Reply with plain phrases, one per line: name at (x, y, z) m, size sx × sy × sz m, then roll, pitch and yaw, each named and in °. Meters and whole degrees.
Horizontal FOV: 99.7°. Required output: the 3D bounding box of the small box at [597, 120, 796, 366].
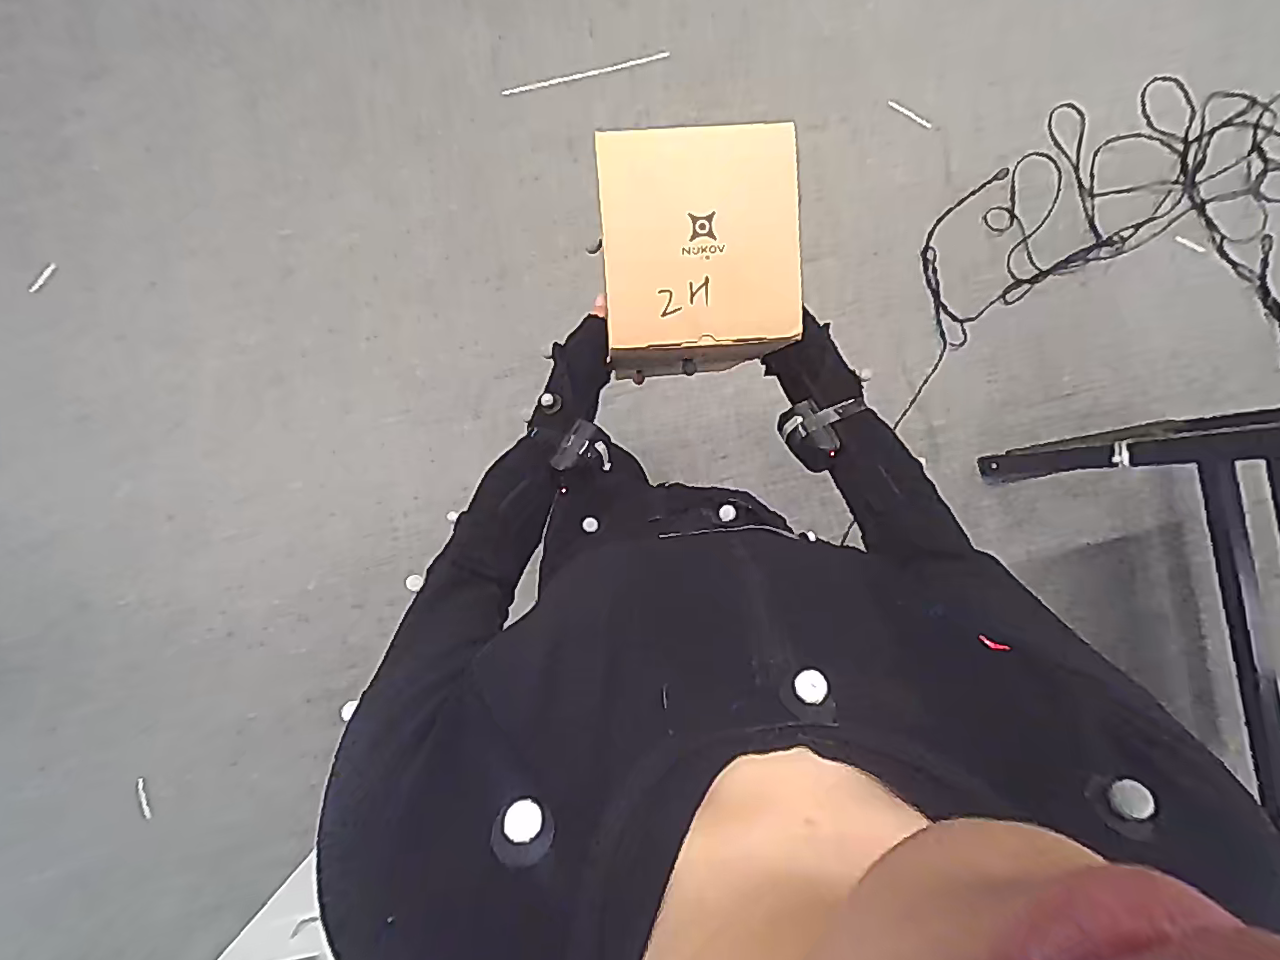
small box at (0.044, -0.213, 0.528) m, size 0.168 × 0.176 × 0.179 m, roll -4°, pitch 96°, yaw -2°
